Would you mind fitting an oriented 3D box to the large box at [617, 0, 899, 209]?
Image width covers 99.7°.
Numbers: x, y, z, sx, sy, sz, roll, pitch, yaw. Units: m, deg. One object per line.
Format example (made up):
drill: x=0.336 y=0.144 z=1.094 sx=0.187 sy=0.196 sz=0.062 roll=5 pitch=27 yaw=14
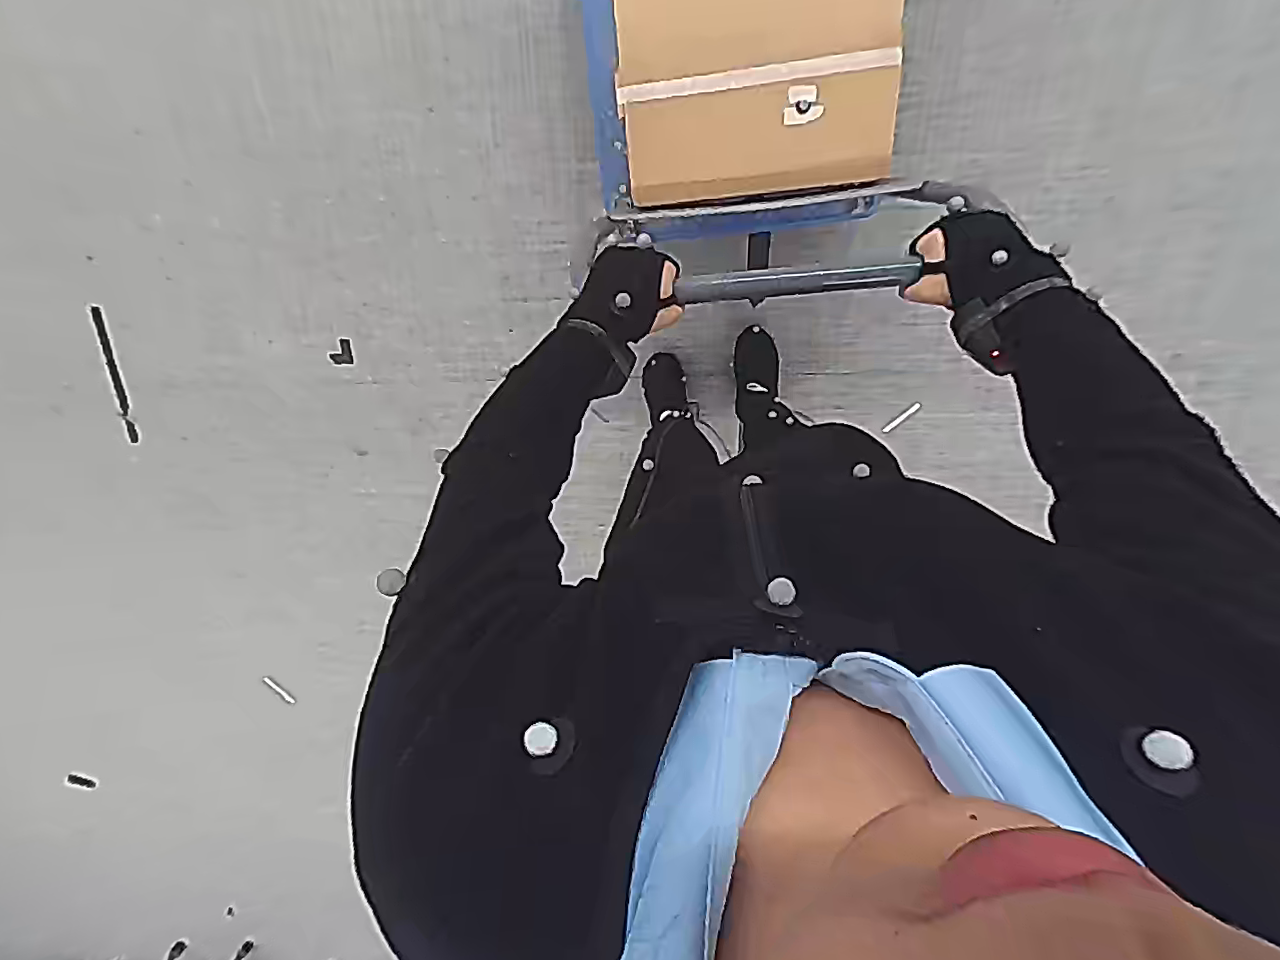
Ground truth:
large box: x=0.187 y=-0.671 z=0.947 sx=0.408 sy=0.320 sz=0.320 roll=-4 pitch=117 yaw=6
